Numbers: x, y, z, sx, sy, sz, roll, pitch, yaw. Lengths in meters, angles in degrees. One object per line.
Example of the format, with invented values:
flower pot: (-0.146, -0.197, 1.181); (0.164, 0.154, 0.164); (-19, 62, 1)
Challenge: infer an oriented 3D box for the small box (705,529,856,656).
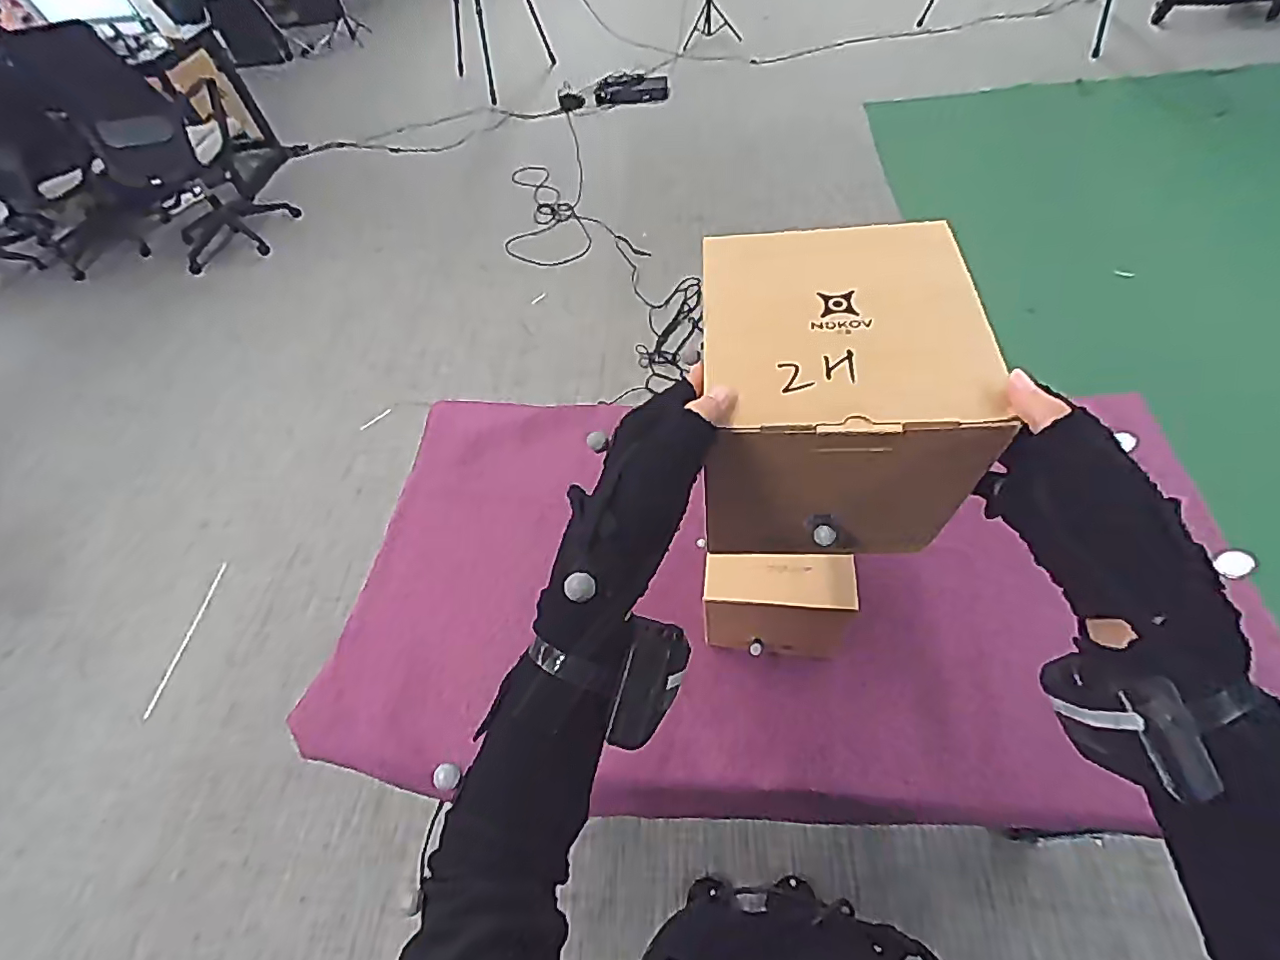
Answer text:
small box: (0.174, 0.109, 0.702); (0.168, 0.176, 0.179); (3, 55, 11)

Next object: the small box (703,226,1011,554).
small box: (0.132, -0.061, 0.407); (0.168, 0.176, 0.179); (0, 58, 8)
